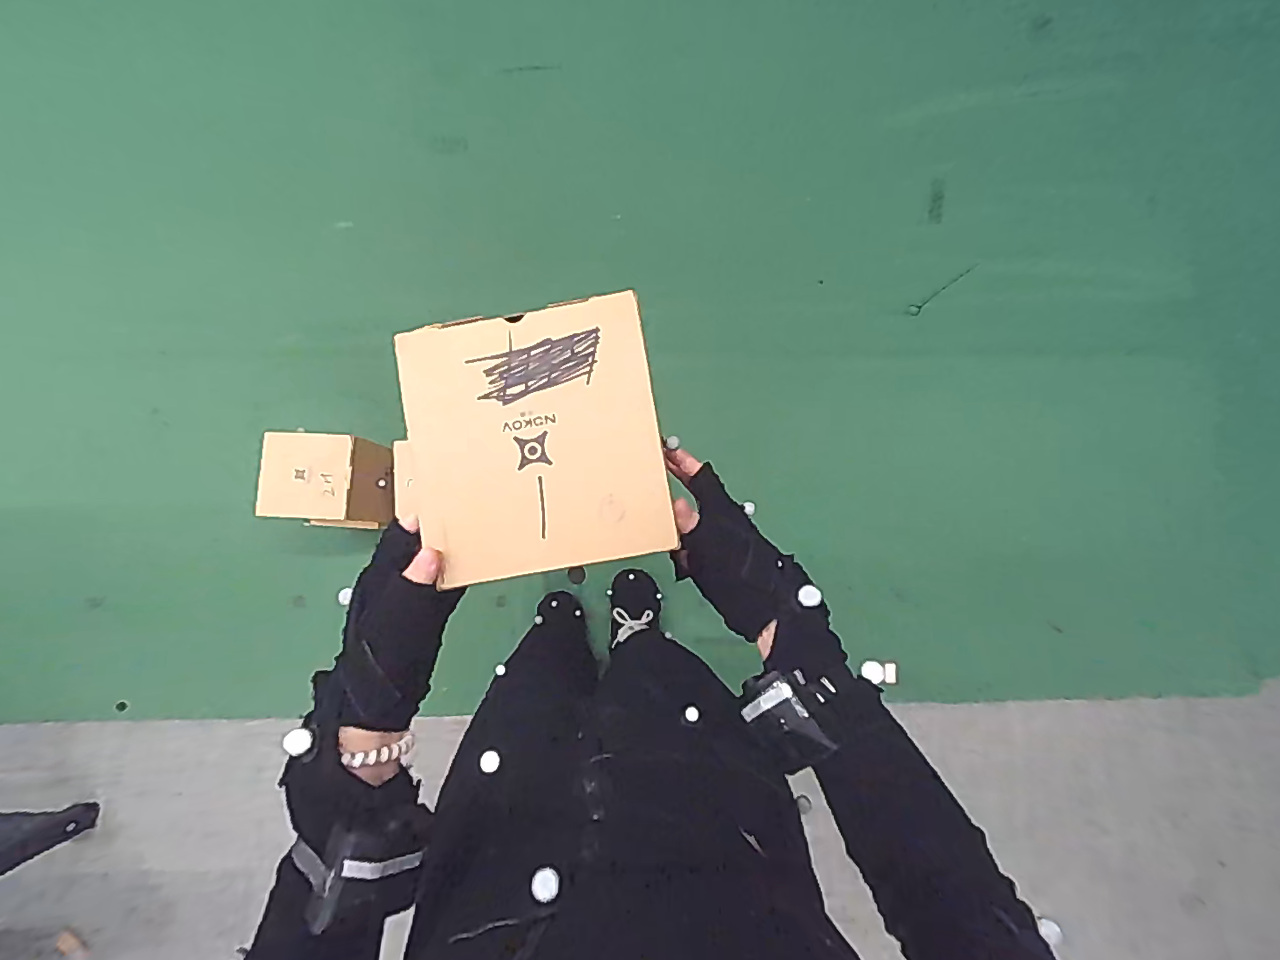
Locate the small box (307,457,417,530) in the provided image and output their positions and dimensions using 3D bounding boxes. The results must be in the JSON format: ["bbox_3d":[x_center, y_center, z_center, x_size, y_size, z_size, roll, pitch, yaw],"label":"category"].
[{"bbox_3d":[-0.649,0.027,1.281,0.168,0.176,0.179,4,83,1],"label":"small box"}]

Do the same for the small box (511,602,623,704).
[{"bbox_3d":[-0.172,0.388,1.242,0.179,0.176,0.168,22,88,25],"label":"small box"}]

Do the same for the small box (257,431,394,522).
[{"bbox_3d":[-0.639,-0.001,1.118,0.179,0.176,0.168,3,84,0],"label":"small box"}]
